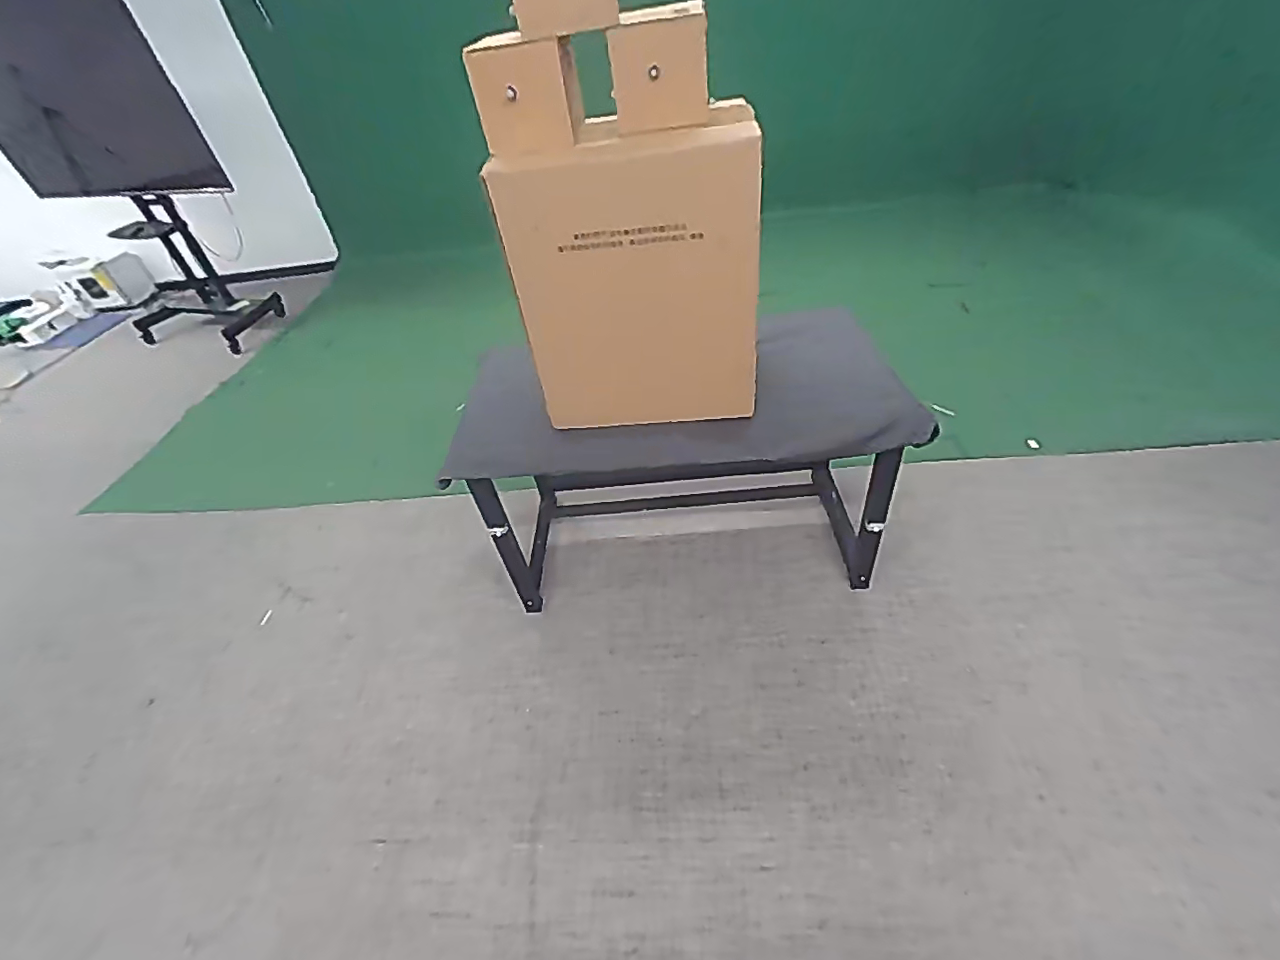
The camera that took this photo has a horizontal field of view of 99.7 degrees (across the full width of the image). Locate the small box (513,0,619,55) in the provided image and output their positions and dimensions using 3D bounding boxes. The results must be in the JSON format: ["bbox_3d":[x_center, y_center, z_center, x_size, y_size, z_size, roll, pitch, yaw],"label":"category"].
[{"bbox_3d":[-0.135,-0.873,0.950,0.179,0.176,0.168,-11,44,1],"label":"small box"}]

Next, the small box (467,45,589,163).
[{"bbox_3d":[-0.211,-0.748,1.073,0.179,0.176,0.168,-2,46,8],"label":"small box"}]

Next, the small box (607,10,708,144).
[{"bbox_3d":[0.044,-0.782,1.054,0.179,0.176,0.168,-3,46,9],"label":"small box"}]
